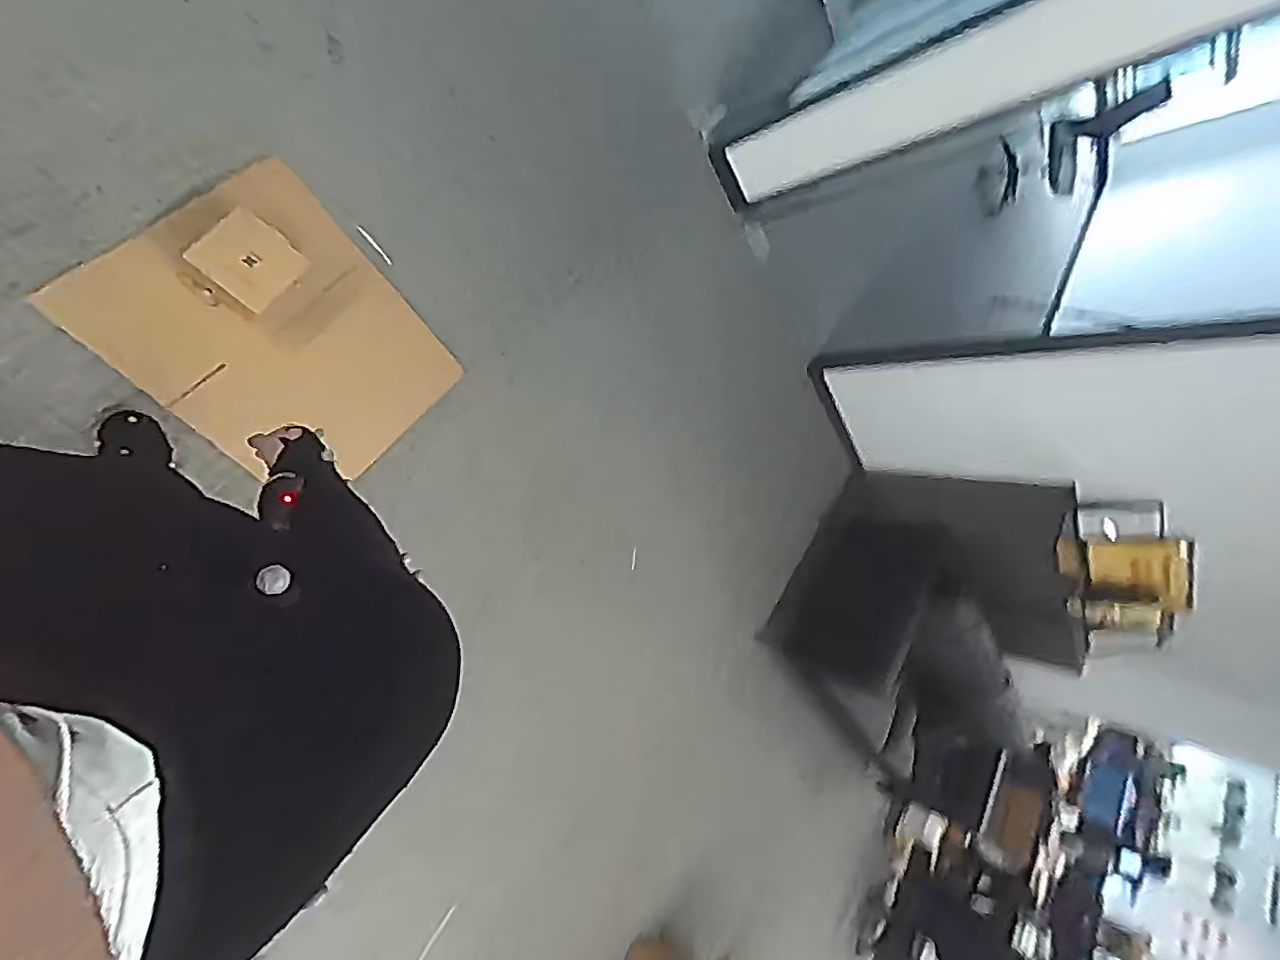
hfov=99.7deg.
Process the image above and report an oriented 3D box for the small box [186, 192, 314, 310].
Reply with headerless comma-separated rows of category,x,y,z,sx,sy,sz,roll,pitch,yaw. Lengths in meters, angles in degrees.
small box,-0.892,-0.513,1.232,0.168,0.176,0.179,47,66,-35
